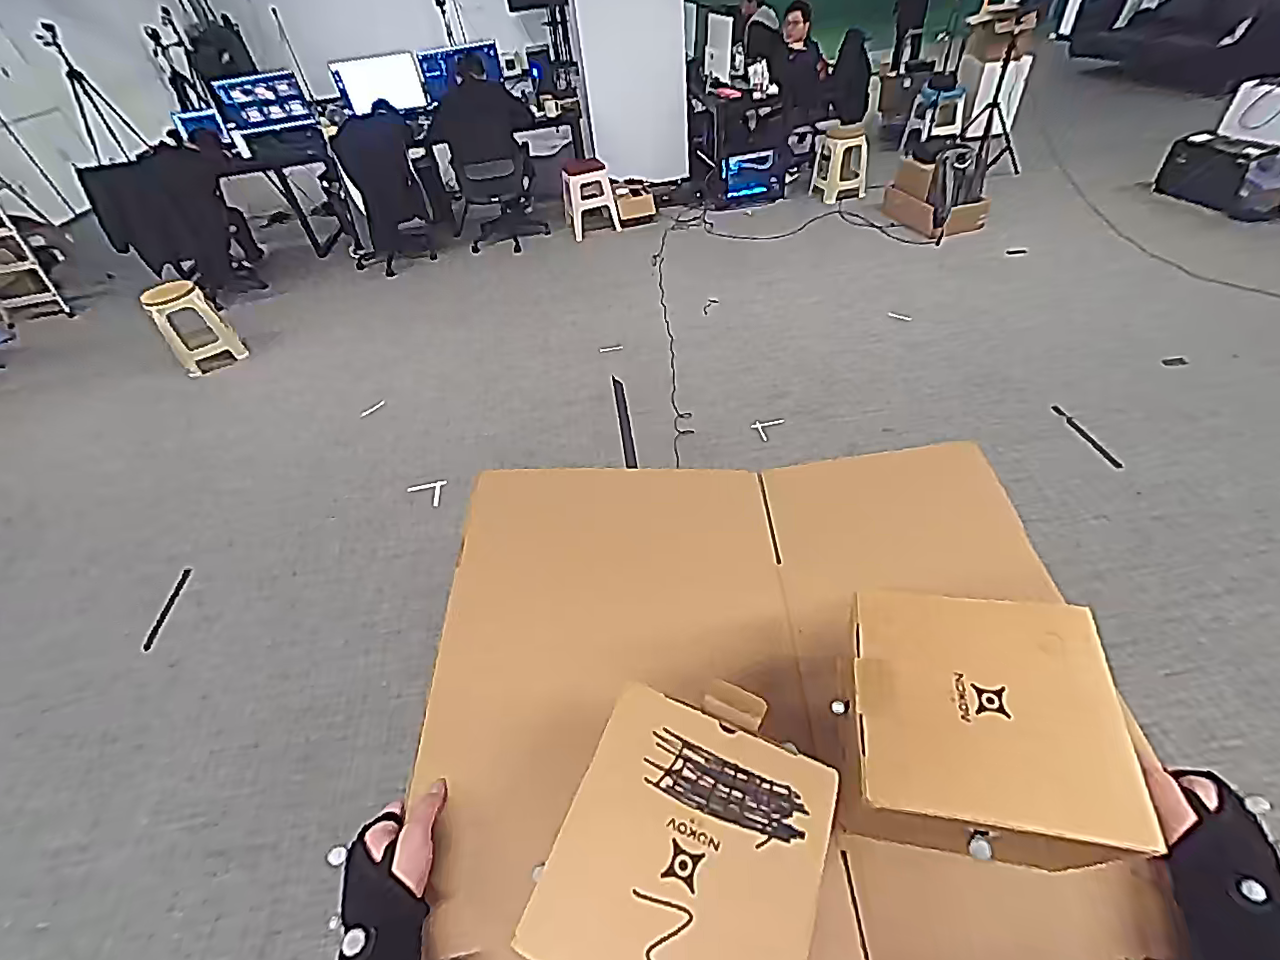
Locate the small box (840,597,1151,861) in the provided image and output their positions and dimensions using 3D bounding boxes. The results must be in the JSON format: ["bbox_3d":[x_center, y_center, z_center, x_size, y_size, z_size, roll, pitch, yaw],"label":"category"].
[{"bbox_3d":[0.276,0.220,0.475,0.179,0.176,0.168,0,52,17],"label":"small box"}]
